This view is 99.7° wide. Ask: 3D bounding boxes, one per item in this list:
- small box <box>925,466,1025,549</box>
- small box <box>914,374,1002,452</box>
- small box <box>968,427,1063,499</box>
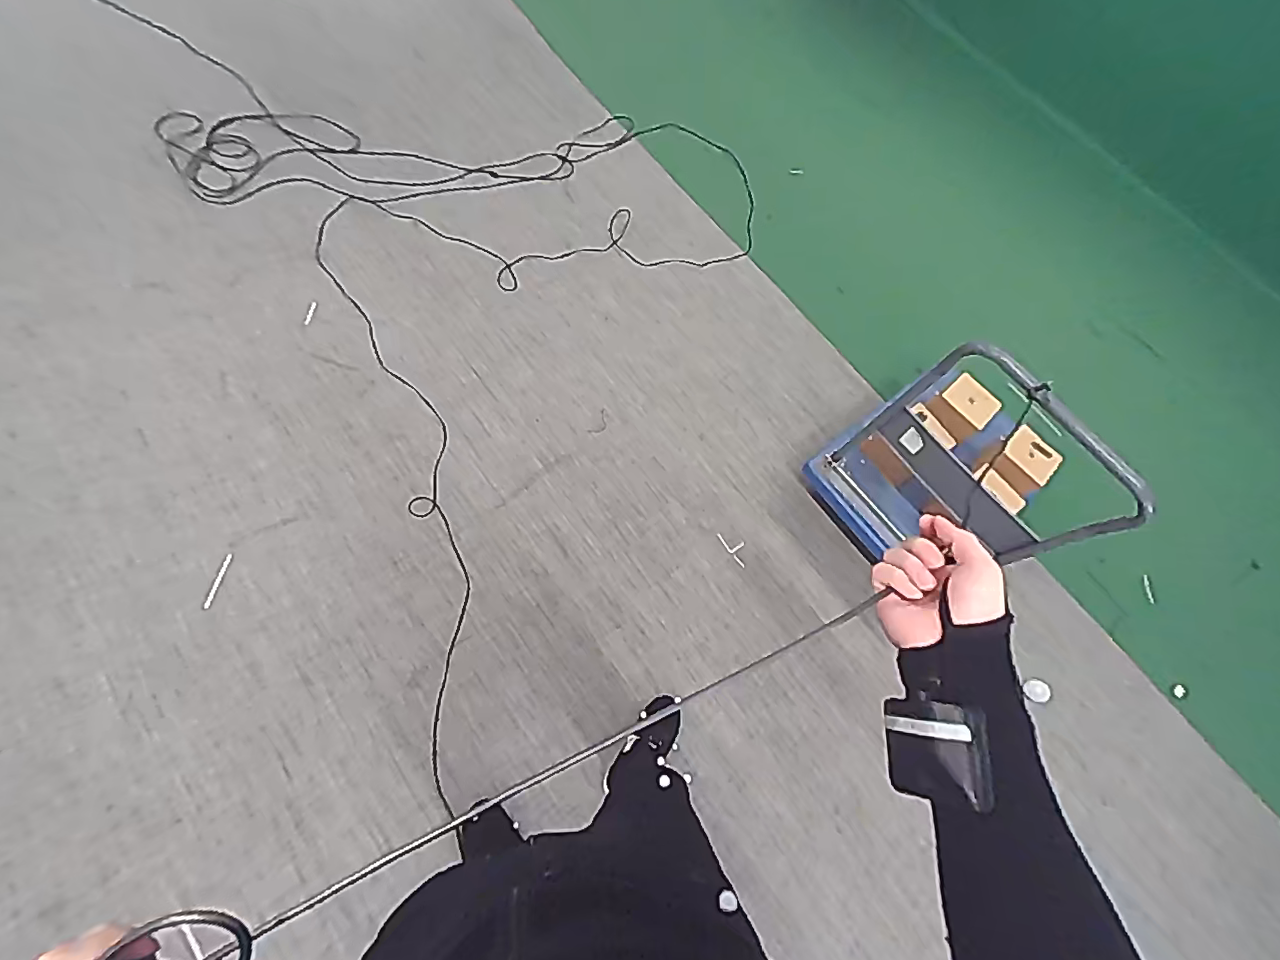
[{"bbox_3d":[1.044,0.089,1.700,0.179,0.176,0.168,-31,76,-24],"label":"small box"},{"bbox_3d":[1.086,-0.224,1.862,0.179,0.176,0.168,-36,78,-26],"label":"small box"},{"bbox_3d":[1.252,-0.041,1.814,0.179,0.176,0.168,-36,77,-25],"label":"small box"}]
